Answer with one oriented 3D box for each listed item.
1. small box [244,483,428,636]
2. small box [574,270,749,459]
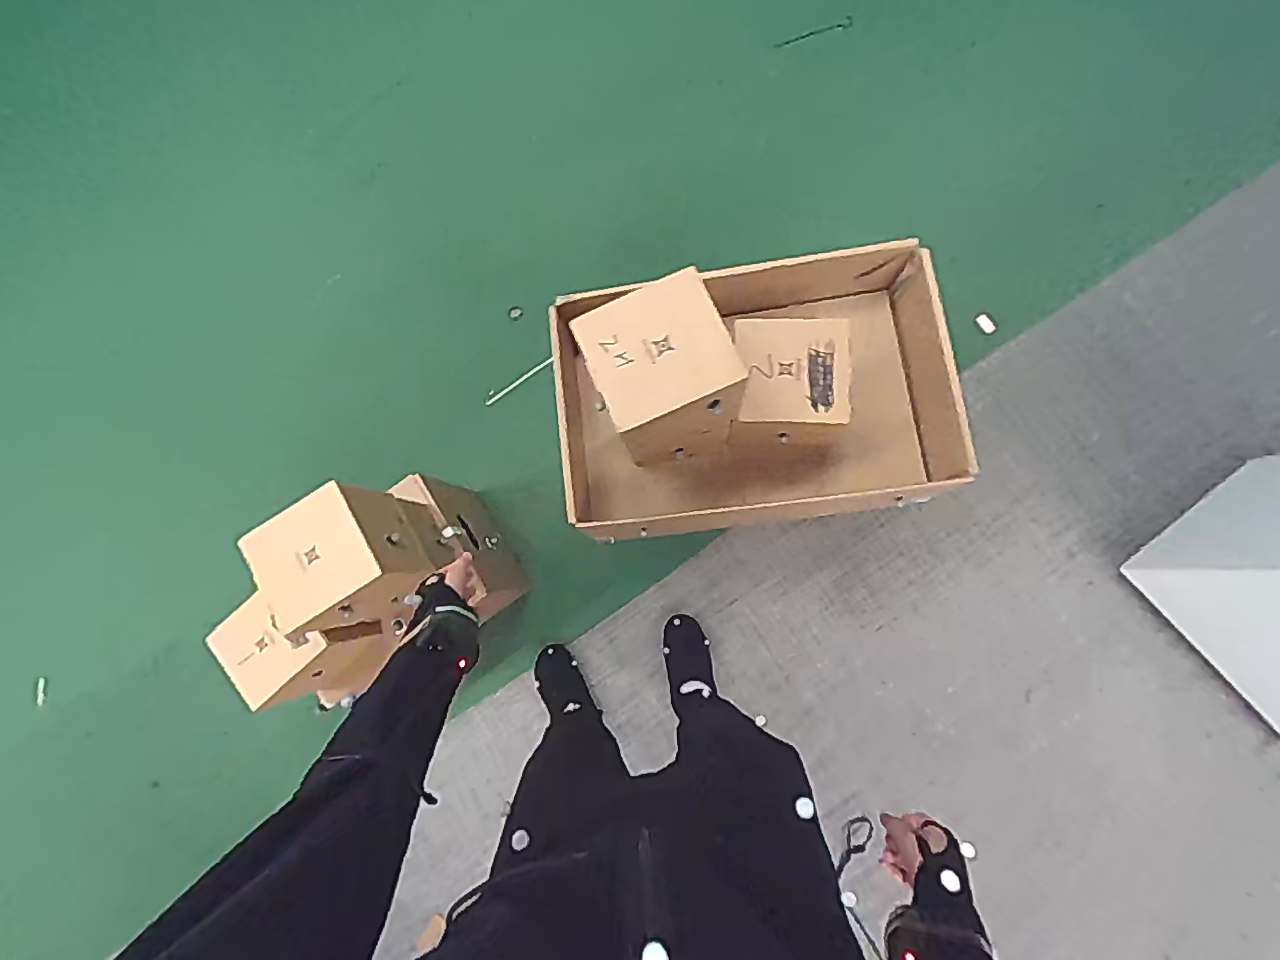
[{"bbox_3d":[-0.472,0.125,0.873,0.179,0.176,0.168,-32,80,1],"label":"small box"},{"bbox_3d":[0.030,-0.147,0.748,0.179,0.176,0.168,-23,78,1],"label":"small box"}]
